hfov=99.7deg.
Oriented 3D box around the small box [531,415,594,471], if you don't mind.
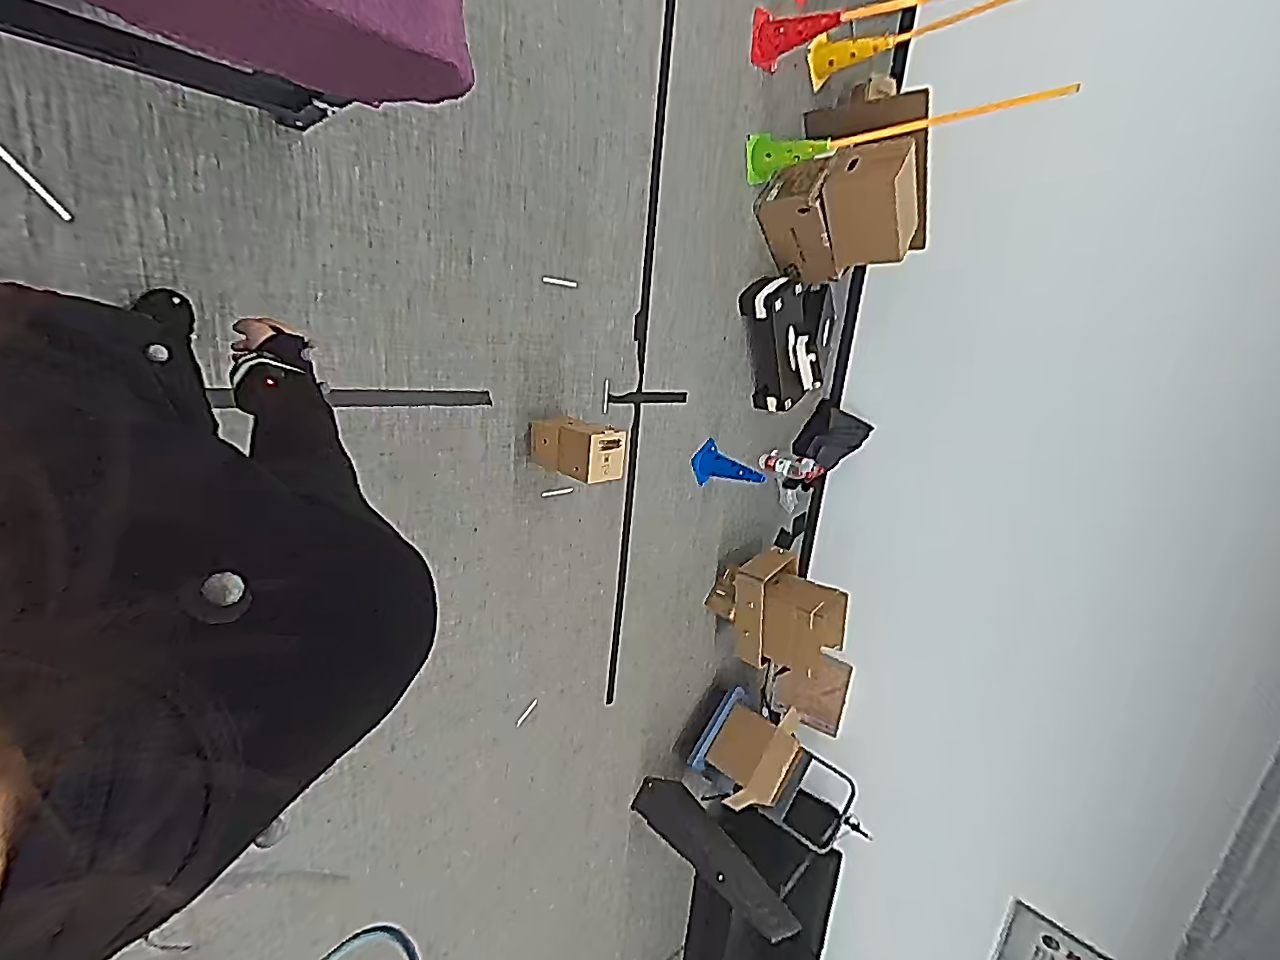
[{"bbox_3d":[-0.294,-0.142,2.022,0.179,0.176,0.168,-15,116,-44],"label":"small box"}]
